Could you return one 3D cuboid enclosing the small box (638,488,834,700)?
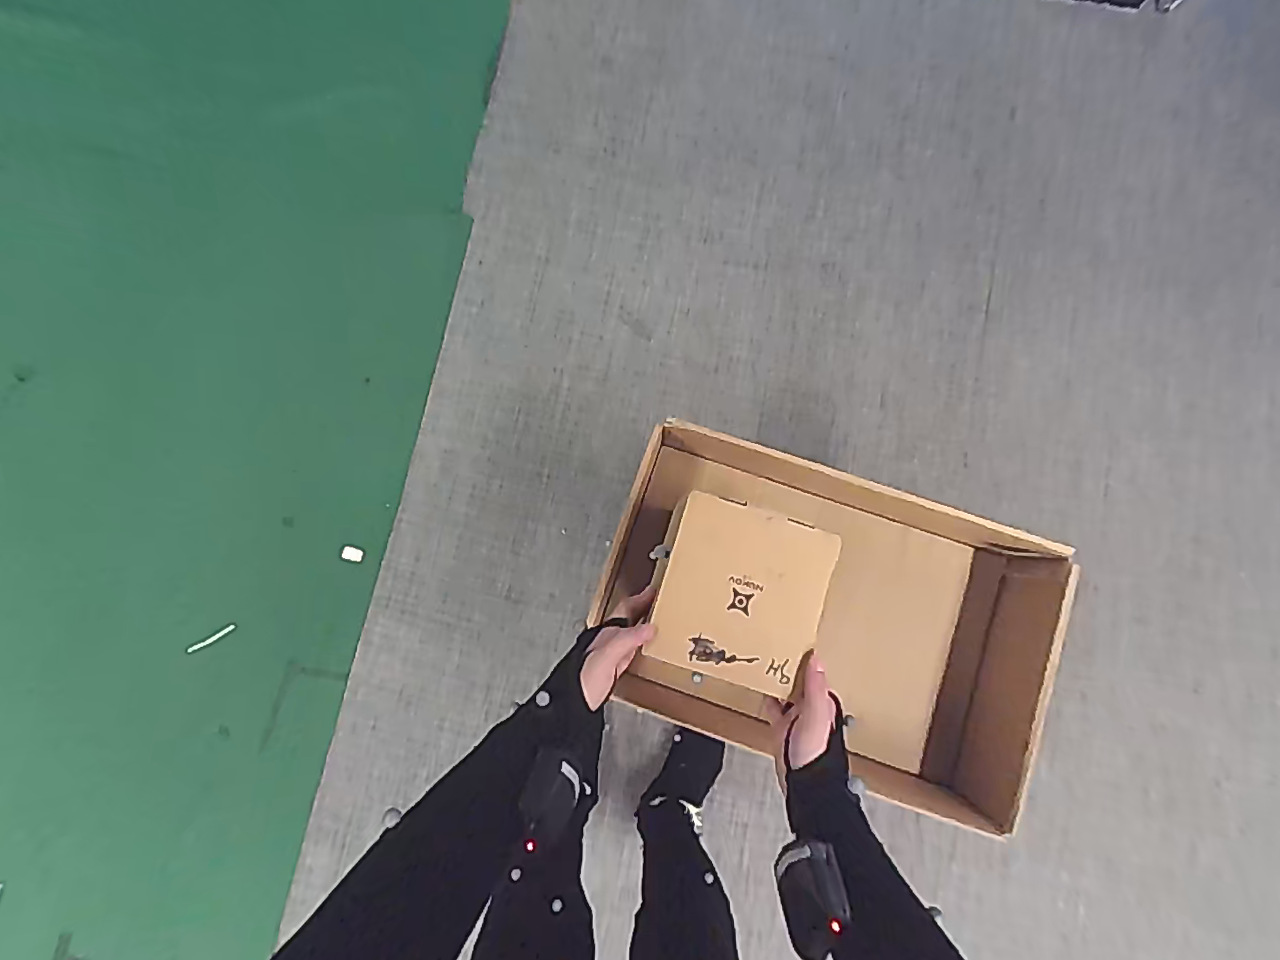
[{"bbox_3d":[0.098,0.124,0.626,0.168,0.176,0.179,17,82,2],"label":"small box"}]
